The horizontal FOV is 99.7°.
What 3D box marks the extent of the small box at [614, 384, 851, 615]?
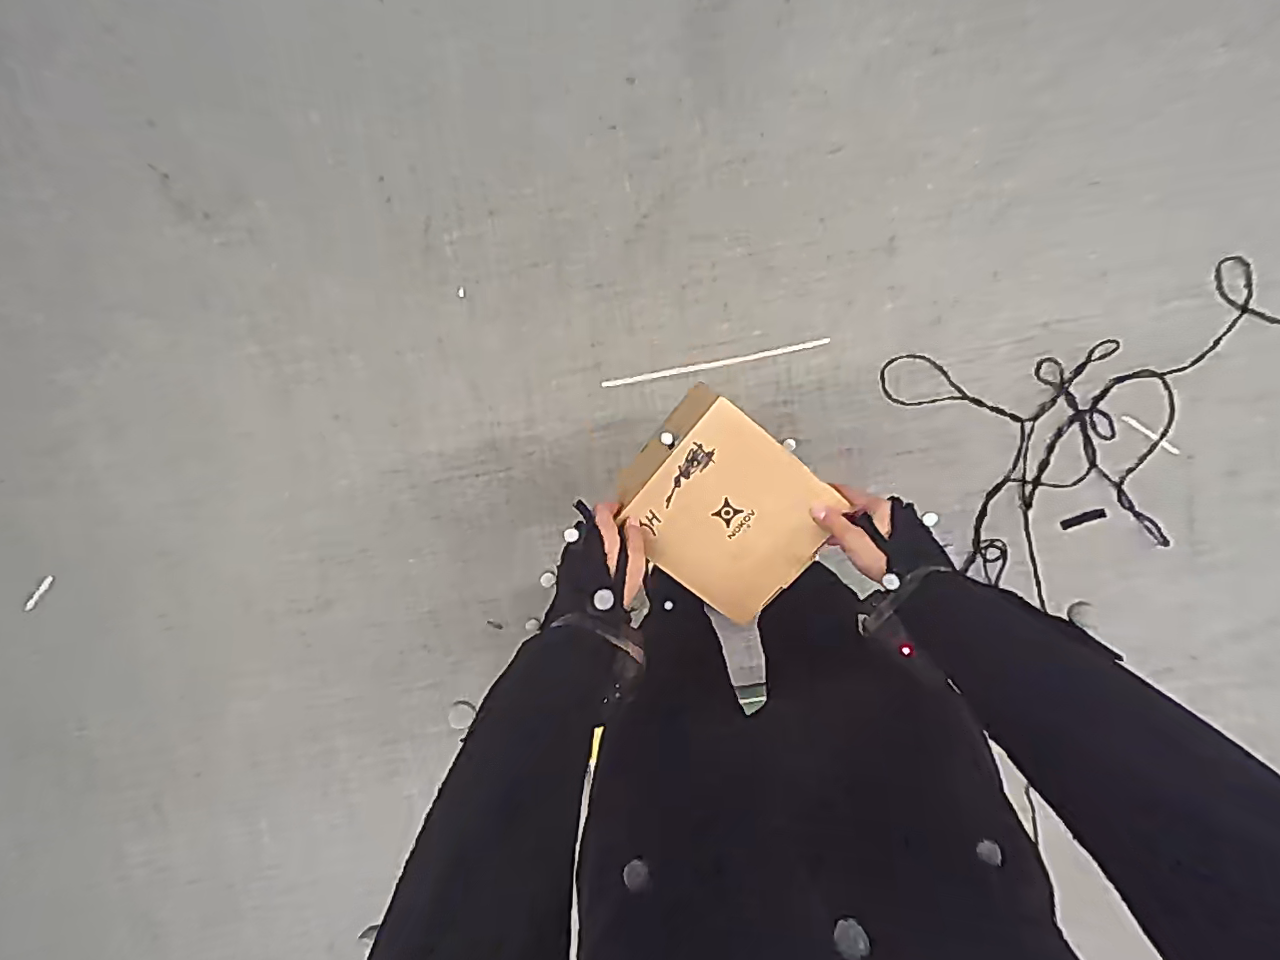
[{"bbox_3d":[0.089,0.008,0.604,0.179,0.176,0.168,38,101,-11],"label":"small box"}]
